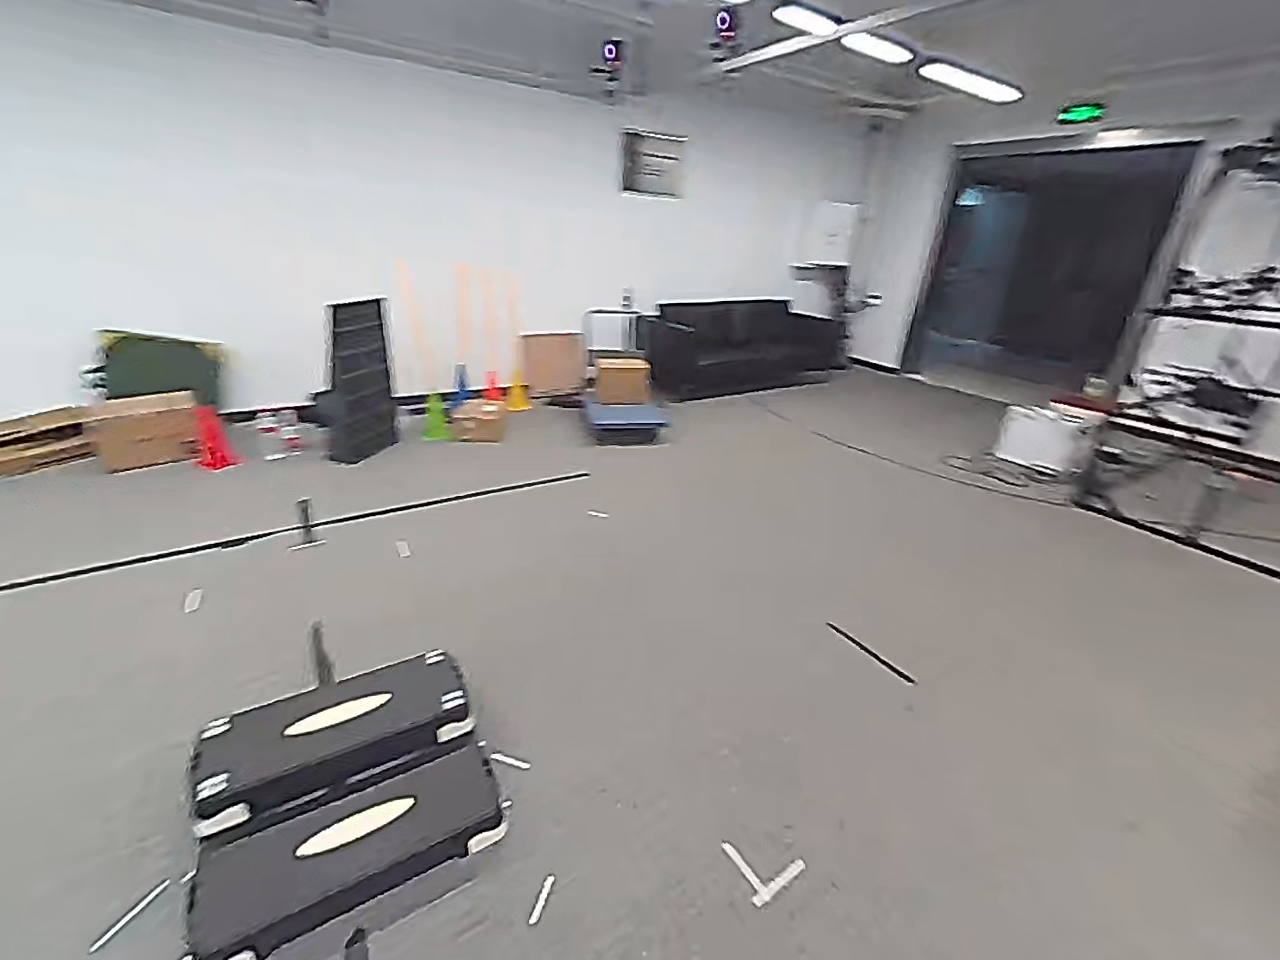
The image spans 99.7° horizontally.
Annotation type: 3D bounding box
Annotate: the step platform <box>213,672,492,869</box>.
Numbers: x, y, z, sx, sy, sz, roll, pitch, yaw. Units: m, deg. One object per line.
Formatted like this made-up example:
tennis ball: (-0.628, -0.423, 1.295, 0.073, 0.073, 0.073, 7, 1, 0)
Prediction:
step platform: (-0.784, 0.787, 1.542, 0.684, 0.204, 0.286, -8, 25, -26)
